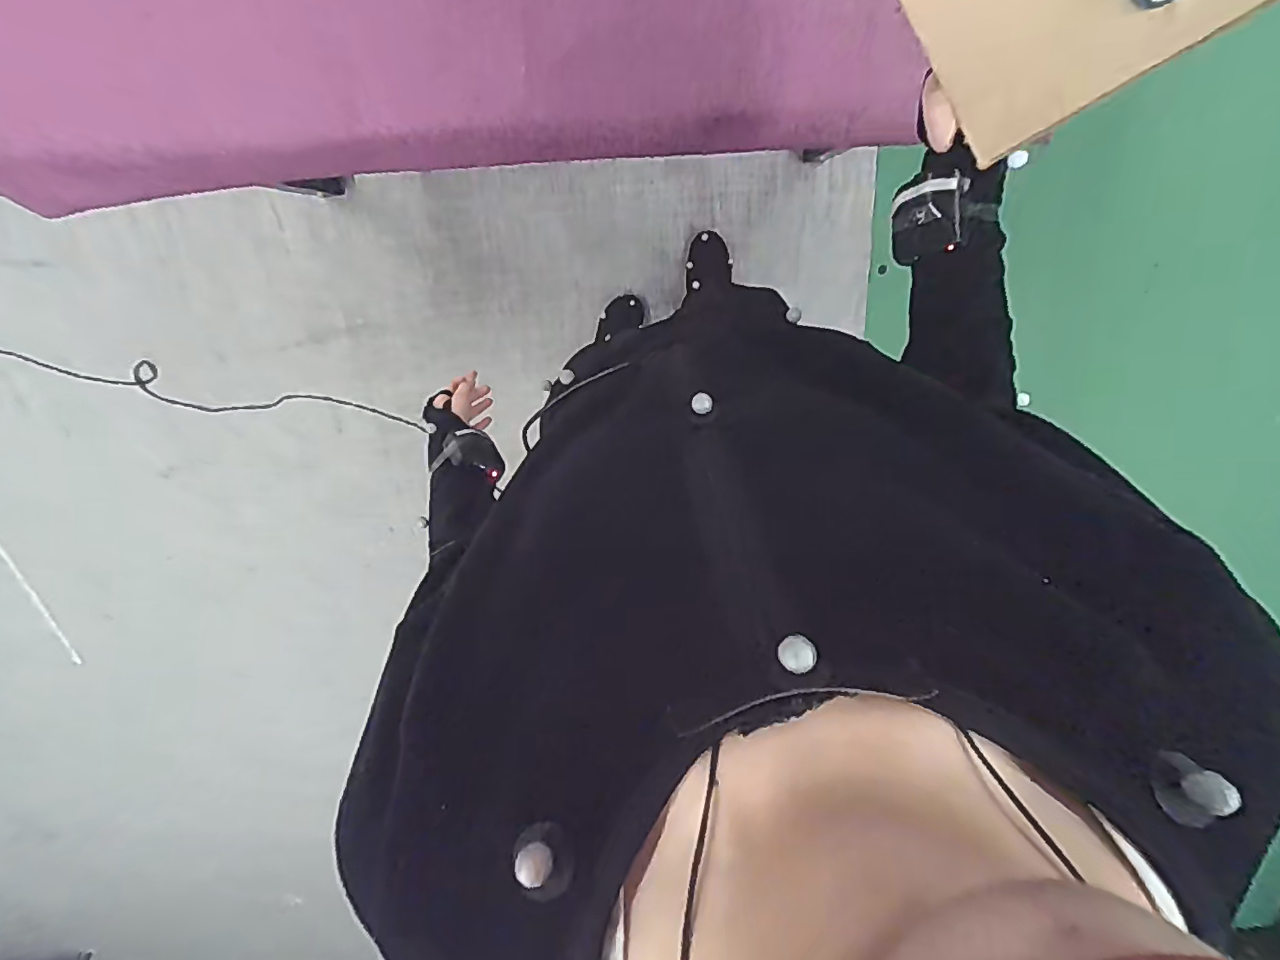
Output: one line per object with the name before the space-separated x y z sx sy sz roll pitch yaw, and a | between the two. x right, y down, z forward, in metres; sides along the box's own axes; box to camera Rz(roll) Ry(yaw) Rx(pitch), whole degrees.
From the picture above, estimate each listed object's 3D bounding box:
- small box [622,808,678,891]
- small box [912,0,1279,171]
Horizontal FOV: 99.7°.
small box | 0.031 1.238 1.825 0.168 0.176 0.179 -7 114 1
small box | 0.240 -0.315 0.272 0.176 0.168 0.179 40 146 -28
